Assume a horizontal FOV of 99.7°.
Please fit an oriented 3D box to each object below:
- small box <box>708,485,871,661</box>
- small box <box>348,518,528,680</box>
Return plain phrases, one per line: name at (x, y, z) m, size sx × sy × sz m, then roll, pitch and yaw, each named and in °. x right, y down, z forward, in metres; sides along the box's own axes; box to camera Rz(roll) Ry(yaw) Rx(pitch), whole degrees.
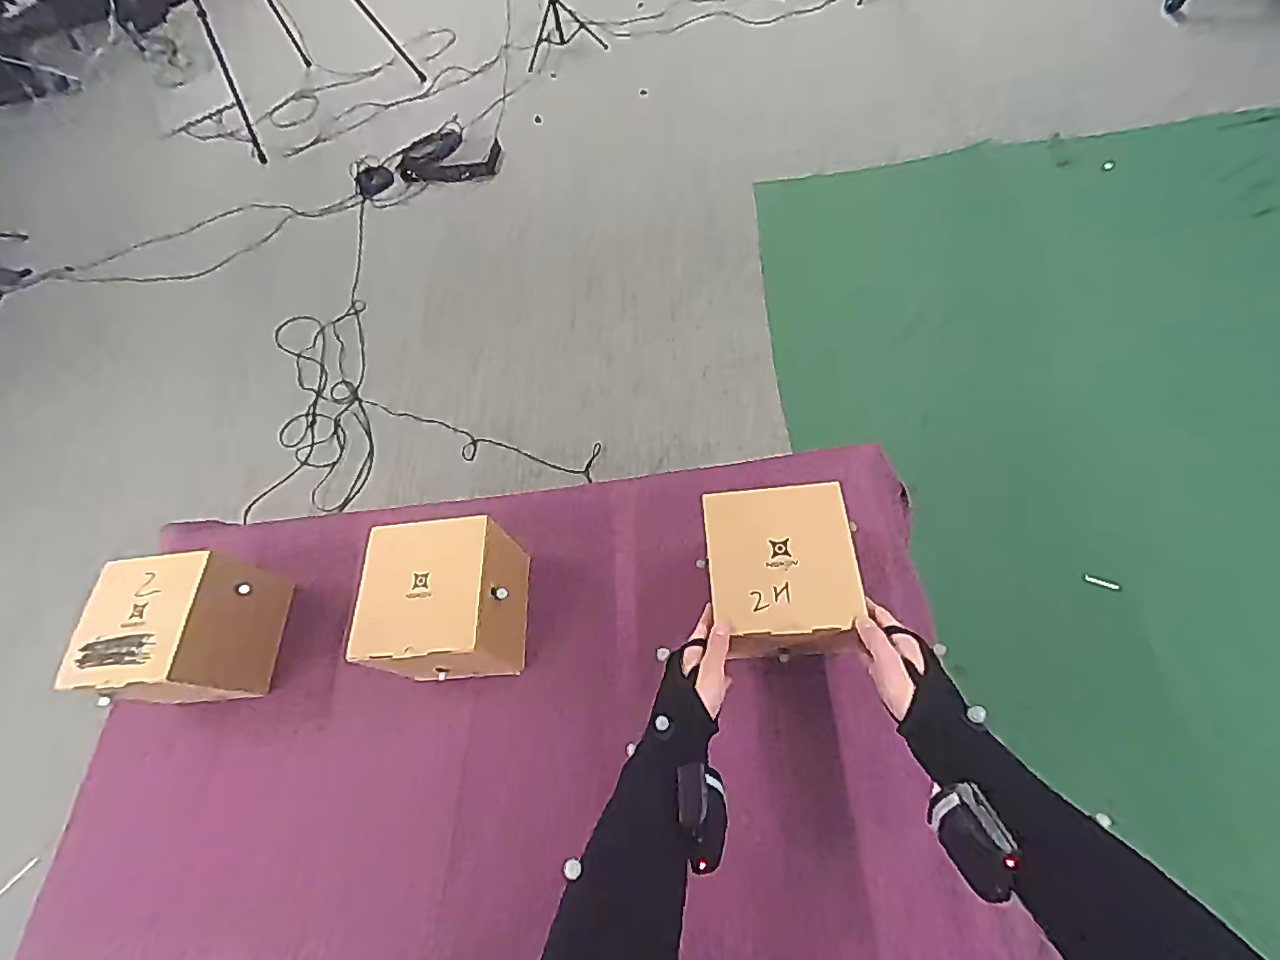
small box at (0.176, 0.125, 0.689) m, size 0.168 × 0.176 × 0.179 m, roll -6°, pitch 63°, yaw 8°
small box at (-0.260, 0.169, 0.744) m, size 0.168 × 0.176 × 0.179 m, roll -6°, pitch 63°, yaw 6°
